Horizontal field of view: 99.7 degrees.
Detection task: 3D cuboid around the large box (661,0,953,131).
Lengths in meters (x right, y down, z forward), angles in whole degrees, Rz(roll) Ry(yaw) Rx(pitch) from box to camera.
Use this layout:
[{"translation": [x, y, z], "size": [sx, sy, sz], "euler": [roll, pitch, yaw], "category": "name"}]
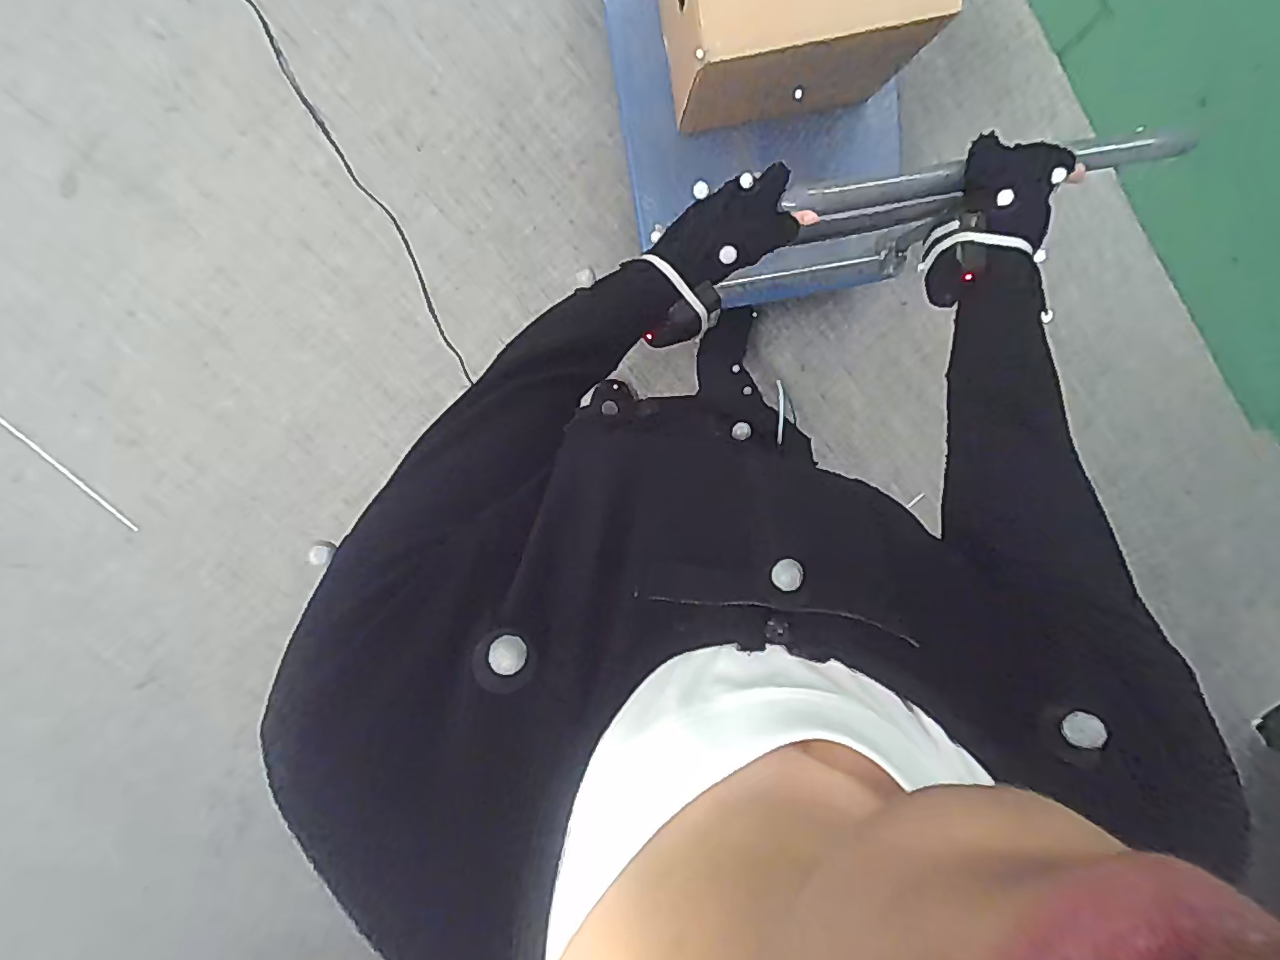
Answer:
[{"translation": [0.256, -0.864, 0.938], "size": [0.408, 0.320, 0.320], "euler": [-11, 105, 1], "category": "large box"}]
